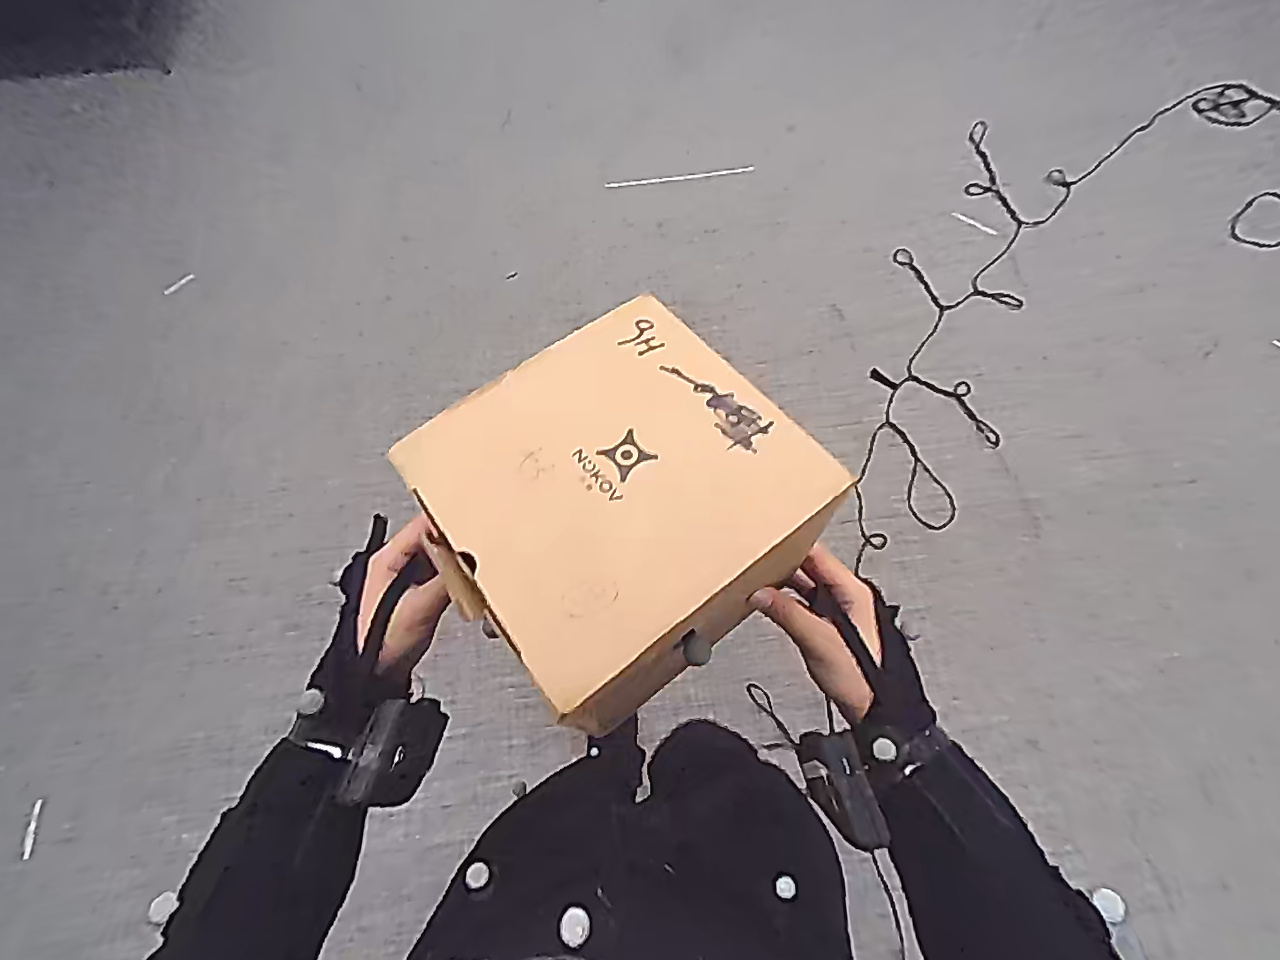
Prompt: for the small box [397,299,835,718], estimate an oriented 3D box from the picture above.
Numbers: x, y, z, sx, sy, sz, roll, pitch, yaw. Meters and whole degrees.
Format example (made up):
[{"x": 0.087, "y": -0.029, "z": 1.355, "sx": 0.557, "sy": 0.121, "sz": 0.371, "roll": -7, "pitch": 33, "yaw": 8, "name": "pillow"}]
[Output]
[{"x": -0.011, "y": 0.029, "z": 0.349, "sx": 0.179, "sy": 0.176, "sz": 0.168, "roll": -36, "pitch": 66, "yaw": -14, "name": "small box"}]
